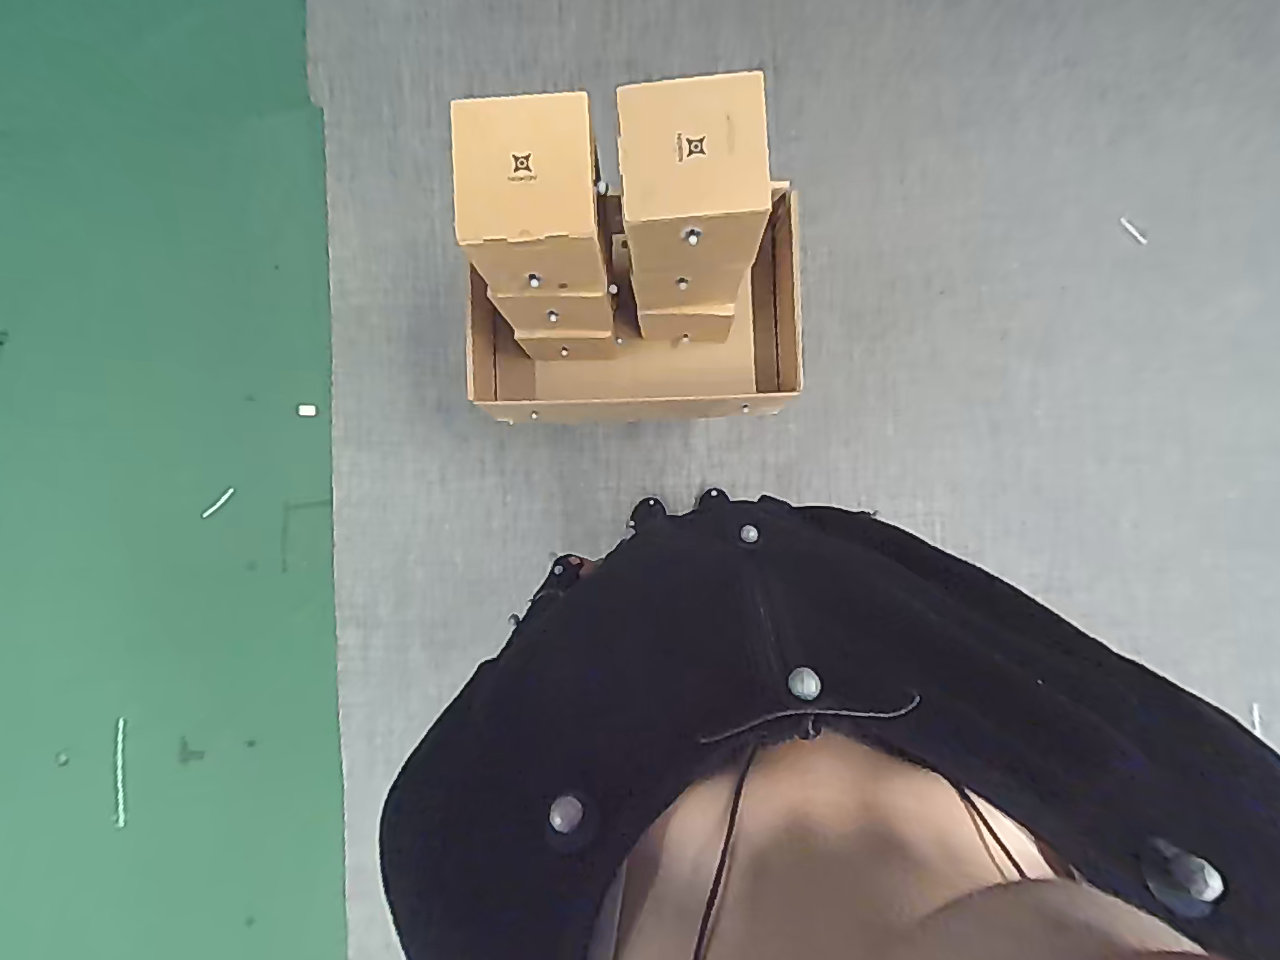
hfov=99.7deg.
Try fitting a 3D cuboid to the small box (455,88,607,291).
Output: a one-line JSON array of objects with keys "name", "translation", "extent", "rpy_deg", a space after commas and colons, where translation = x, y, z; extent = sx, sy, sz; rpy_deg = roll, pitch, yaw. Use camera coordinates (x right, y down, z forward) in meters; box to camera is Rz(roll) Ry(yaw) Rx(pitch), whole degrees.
[{"name": "small box", "translation": [-0.134, -0.370, 0.715], "extent": [0.168, 0.176, 0.179], "rpy_deg": [-3, 88, 1]}]
